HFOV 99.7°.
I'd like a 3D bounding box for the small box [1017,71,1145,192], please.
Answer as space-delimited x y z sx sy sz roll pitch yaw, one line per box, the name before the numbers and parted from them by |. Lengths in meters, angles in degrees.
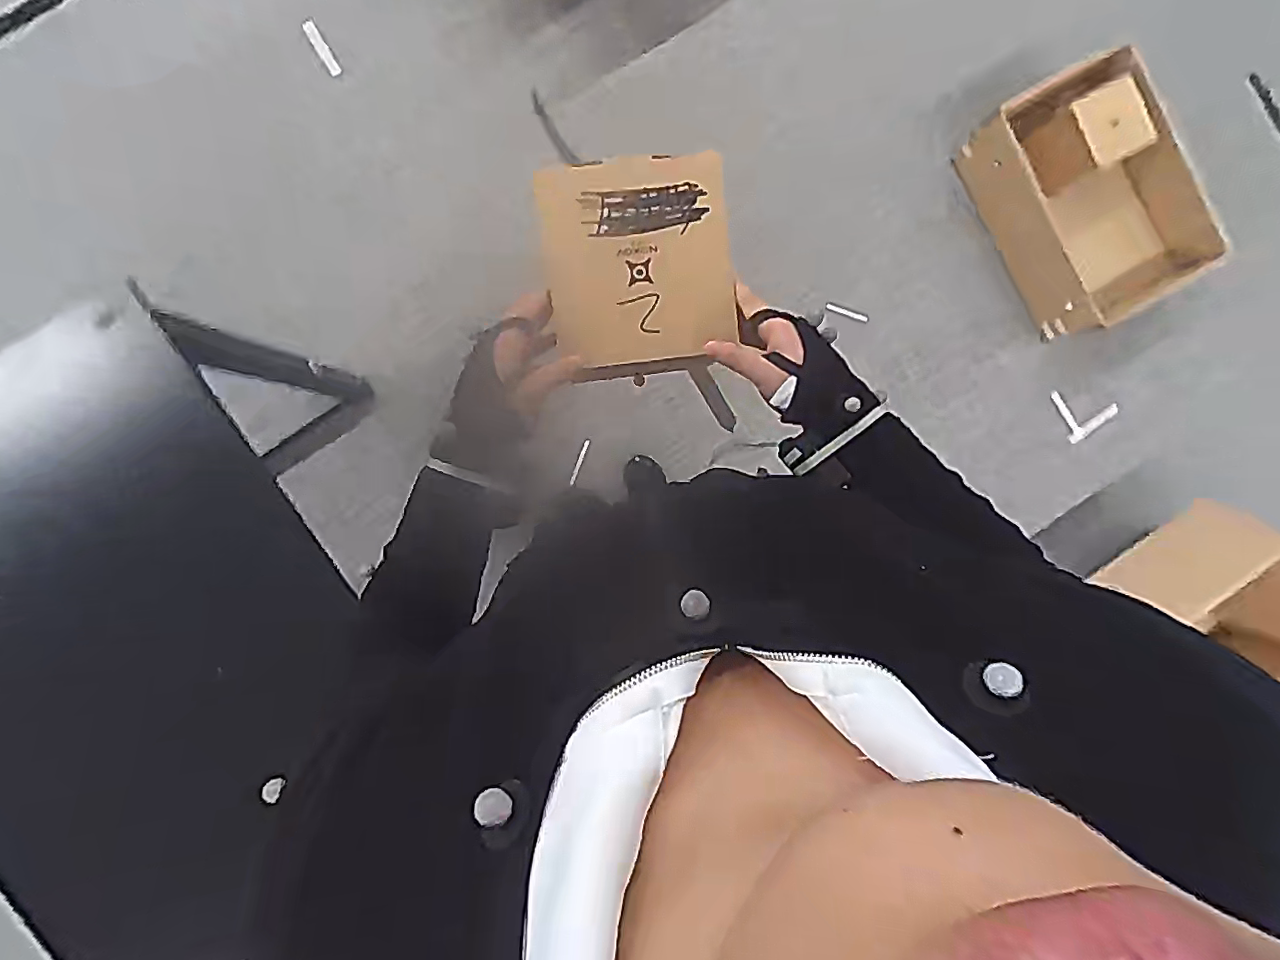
small box | 1.146 -0.903 1.419 0.168 0.176 0.179 -29 95 0
